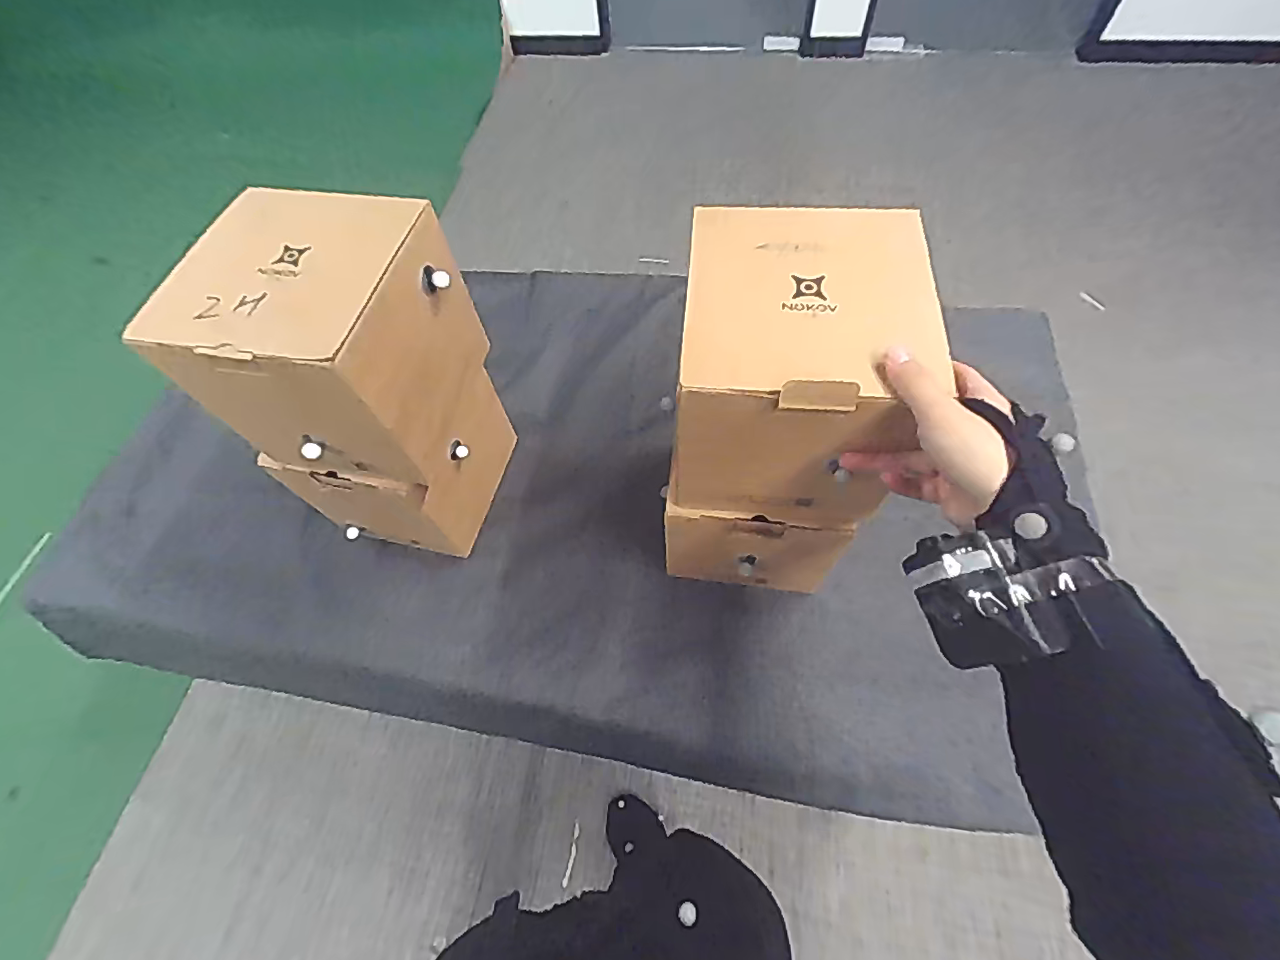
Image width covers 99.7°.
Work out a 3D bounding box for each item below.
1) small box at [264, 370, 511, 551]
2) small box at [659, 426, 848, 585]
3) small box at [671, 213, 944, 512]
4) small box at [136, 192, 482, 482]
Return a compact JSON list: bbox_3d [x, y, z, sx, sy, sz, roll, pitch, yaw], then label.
[{"bbox_3d":[-0.266,-0.037,0.622,0.168,0.176,0.179,11,61,9],"label":"small box"},{"bbox_3d":[0.116,0.001,0.576,0.168,0.176,0.179,6,62,7],"label":"small box"},{"bbox_3d":[0.114,-0.087,0.438,0.168,0.176,0.179,4,60,5],"label":"small box"},{"bbox_3d":[-0.259,-0.121,0.481,0.168,0.176,0.179,8,62,8],"label":"small box"}]
